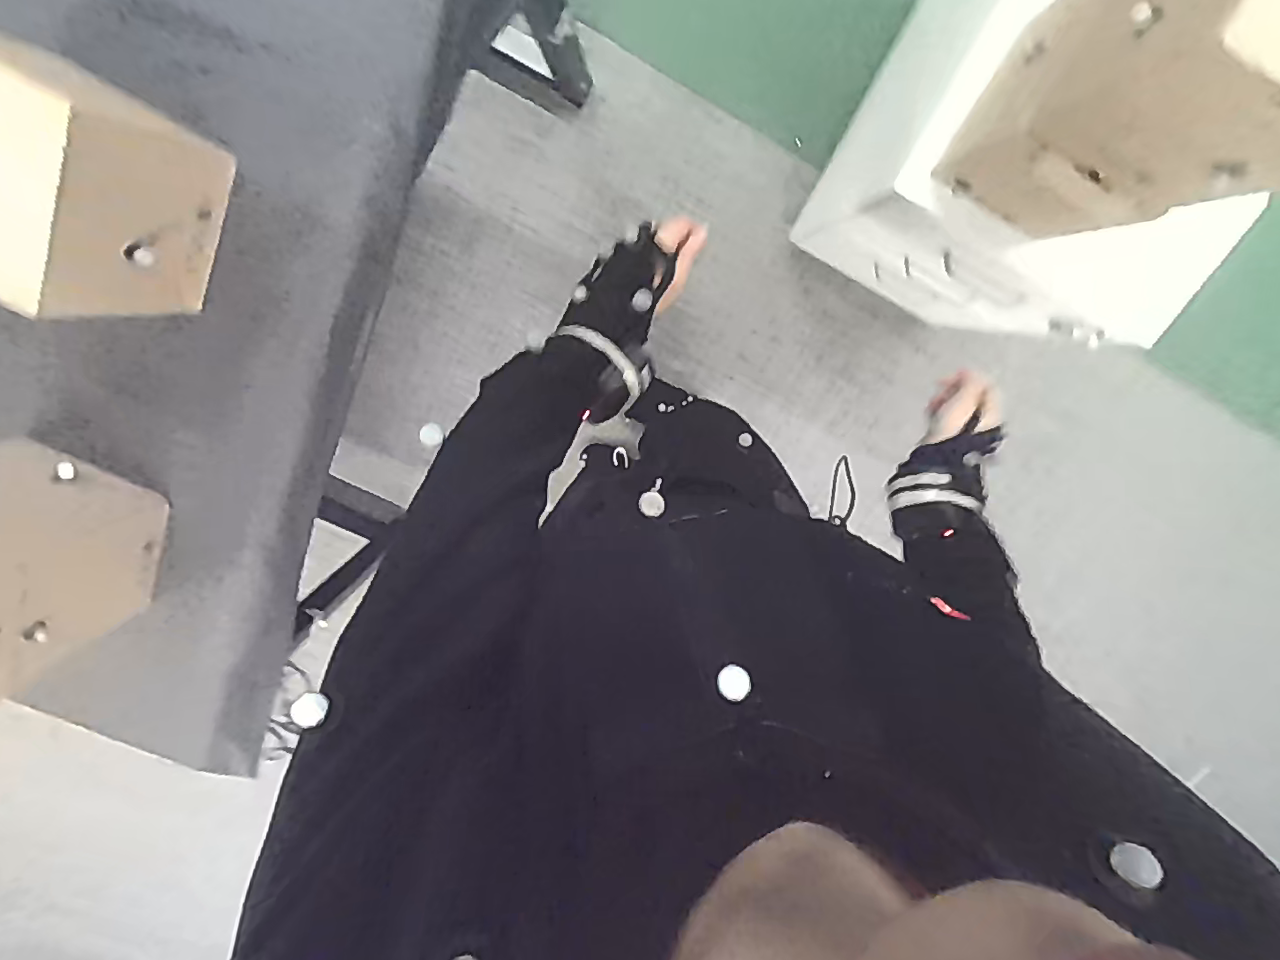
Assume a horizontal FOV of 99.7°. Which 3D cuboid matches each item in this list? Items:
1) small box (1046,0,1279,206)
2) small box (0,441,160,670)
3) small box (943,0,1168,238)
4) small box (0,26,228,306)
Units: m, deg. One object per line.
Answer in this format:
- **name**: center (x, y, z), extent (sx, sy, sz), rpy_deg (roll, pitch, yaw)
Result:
- **small box**: center (0.447, -0.325, 0.386), extent (0.168, 0.176, 0.179), rpy_deg (24, 106, -9)
- **small box**: center (-0.679, 0.072, 0.573), extent (0.179, 0.176, 0.168), rpy_deg (26, 107, -7)
- **small box**: center (0.446, -0.368, 0.543), extent (0.168, 0.176, 0.179), rpy_deg (27, 106, -8)
- **small box**: center (-0.504, -0.267, 0.458), extent (0.179, 0.176, 0.168), rpy_deg (28, 107, -7)
